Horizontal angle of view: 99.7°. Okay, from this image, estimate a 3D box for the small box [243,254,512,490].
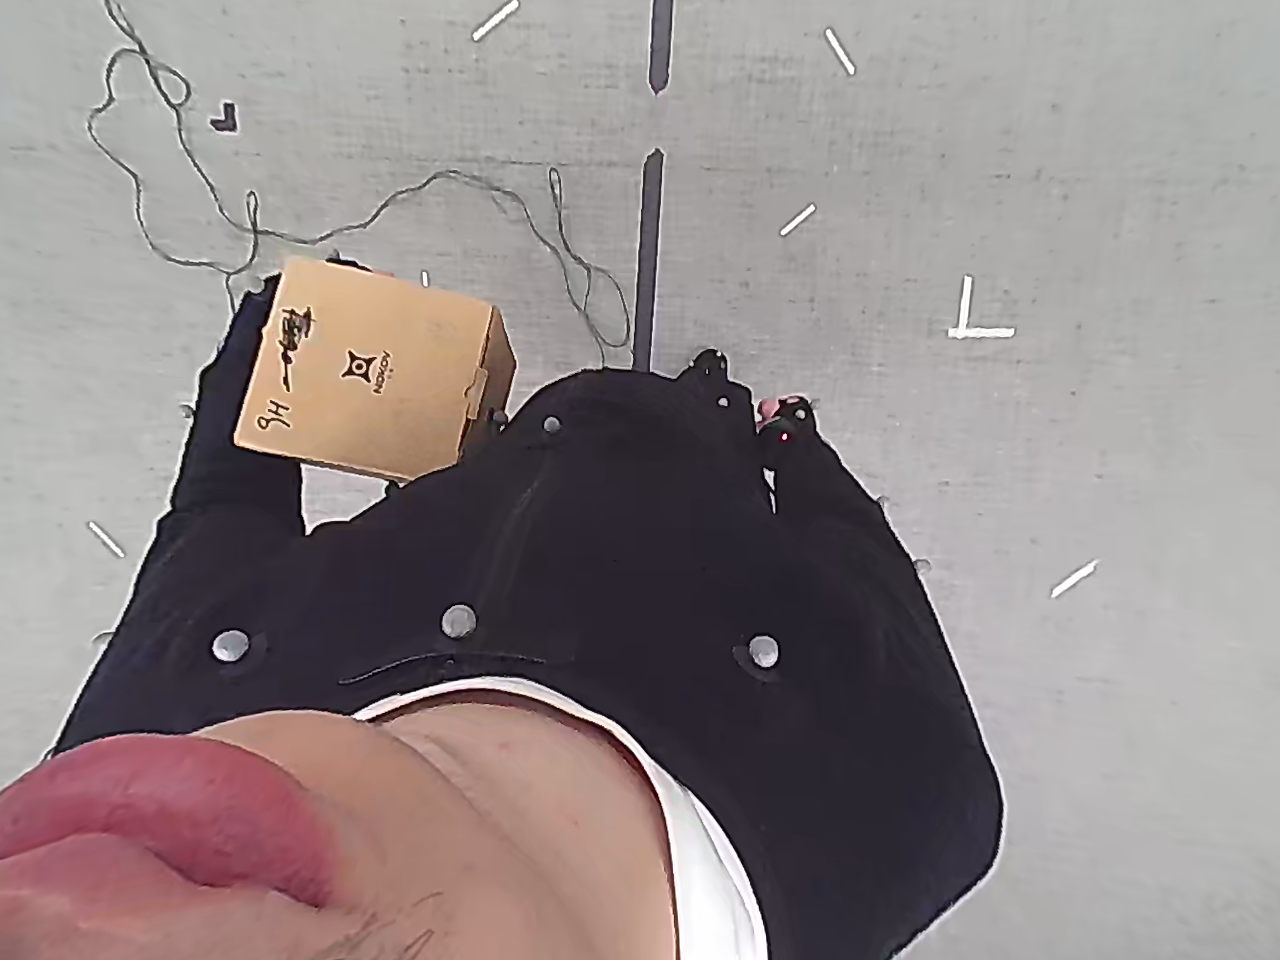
[{"bbox_3d":[-0.232,-0.087,0.533,0.179,0.176,0.168,12,83,-7],"label":"small box"}]
